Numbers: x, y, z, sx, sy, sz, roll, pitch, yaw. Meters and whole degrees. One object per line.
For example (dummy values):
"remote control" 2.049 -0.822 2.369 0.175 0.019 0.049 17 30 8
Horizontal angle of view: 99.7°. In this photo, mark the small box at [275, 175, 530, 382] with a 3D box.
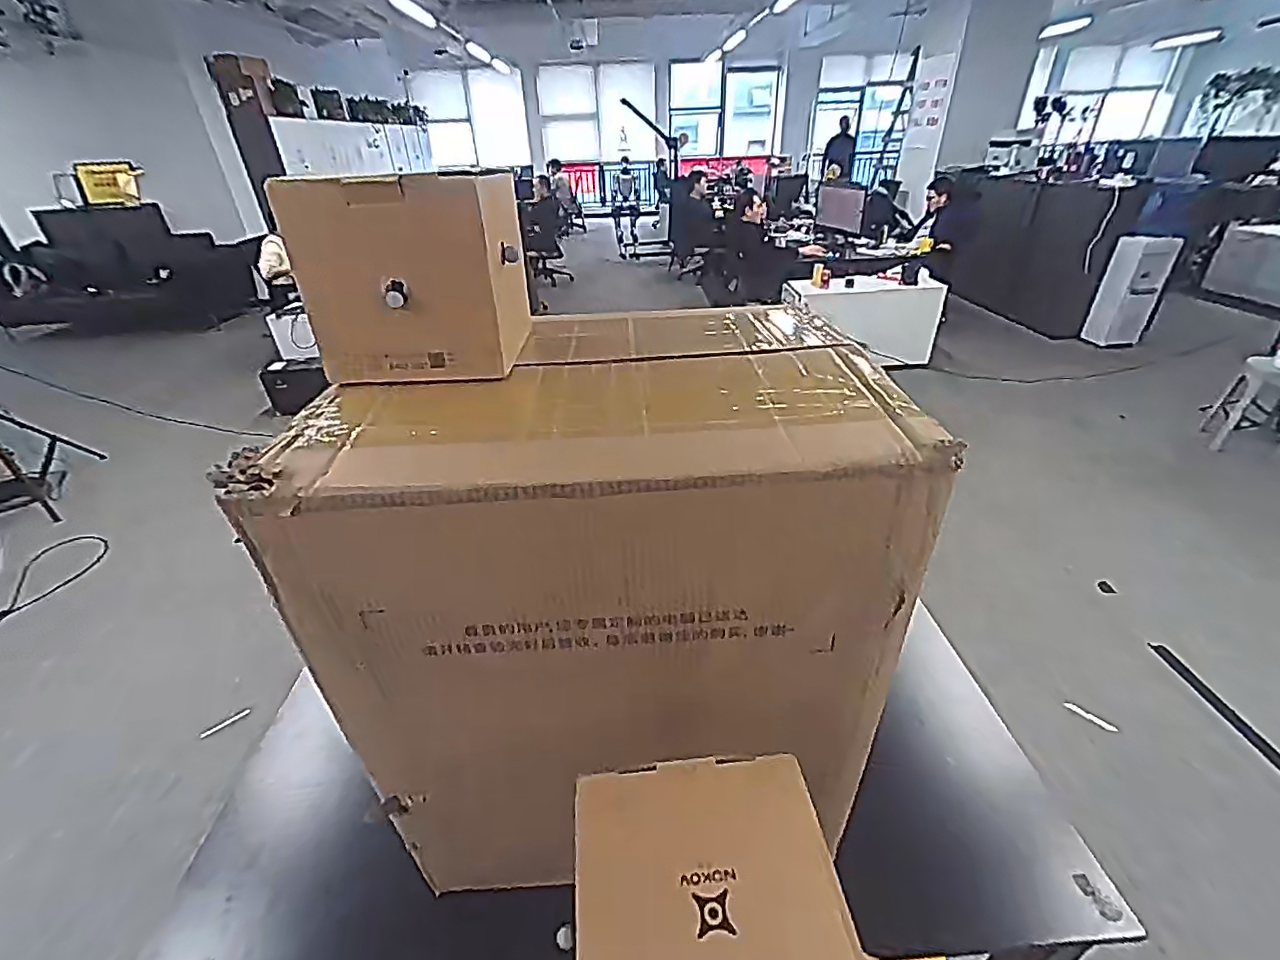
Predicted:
"small box" -0.209 -0.201 0.540 0.168 0.176 0.179 -2 31 -2
